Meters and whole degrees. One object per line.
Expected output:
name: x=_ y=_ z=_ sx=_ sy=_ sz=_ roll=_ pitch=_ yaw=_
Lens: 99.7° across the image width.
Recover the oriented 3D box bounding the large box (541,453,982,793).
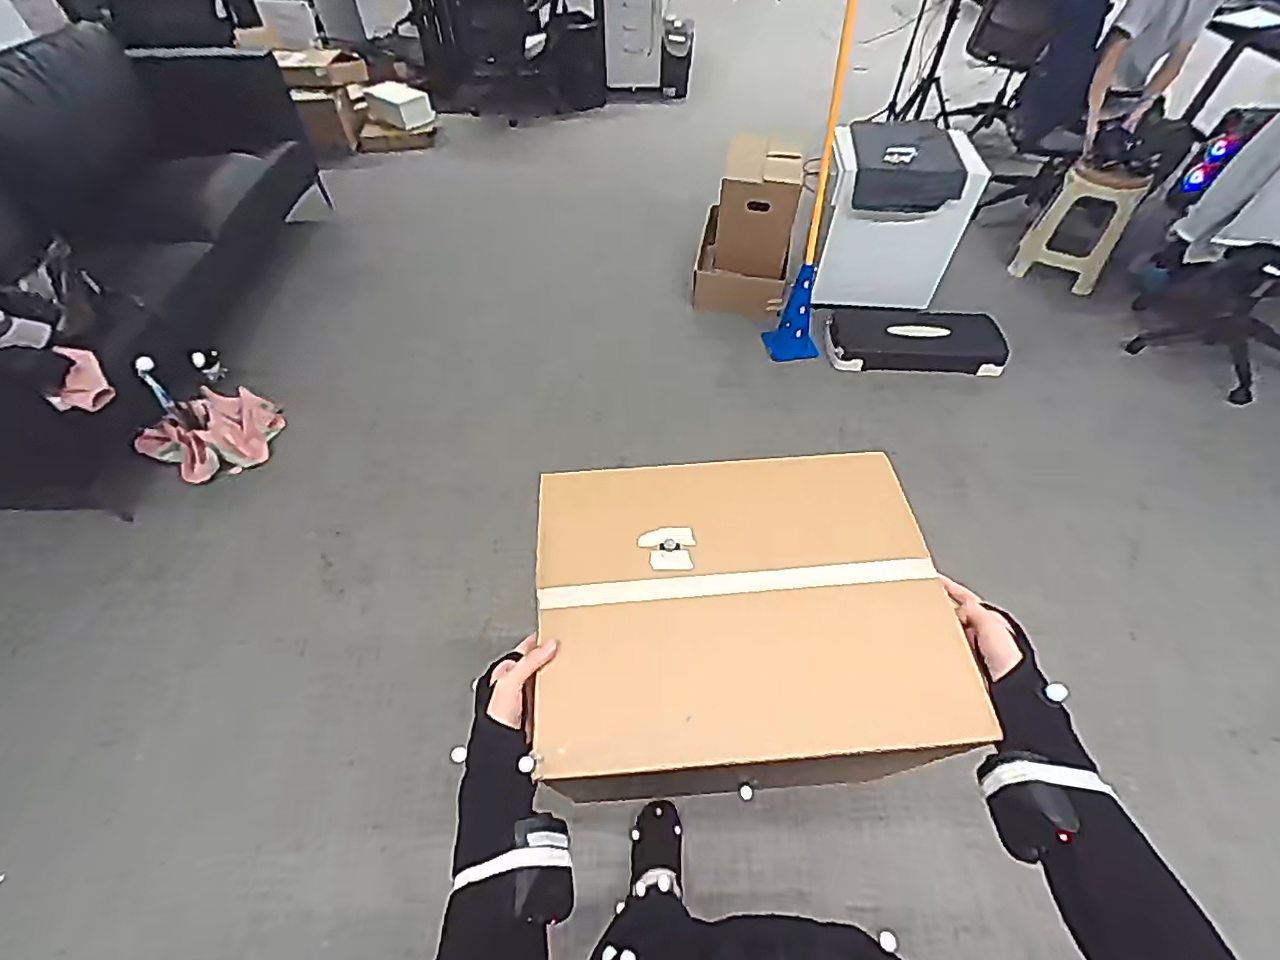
large box: x=0.105 y=0.194 z=0.683 sx=0.408 sy=0.320 sz=0.320 roll=-5 pitch=55 yaw=-1
